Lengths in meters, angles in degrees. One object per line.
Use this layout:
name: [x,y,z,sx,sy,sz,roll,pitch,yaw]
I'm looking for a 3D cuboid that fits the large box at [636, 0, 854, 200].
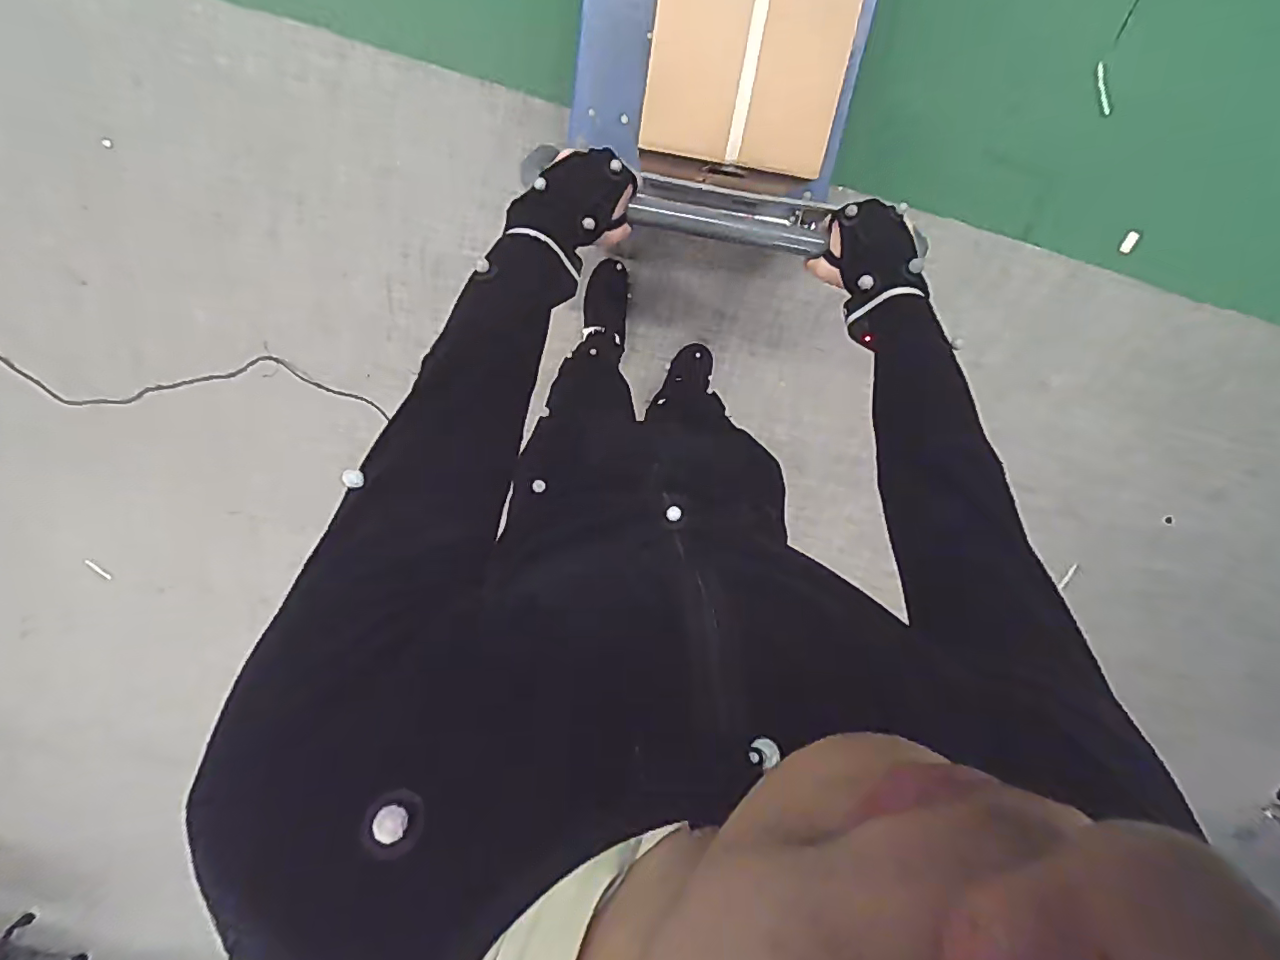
large box: [0.174,-0.767,0.986,0.320,0.320,0.408,8,112,-3]
